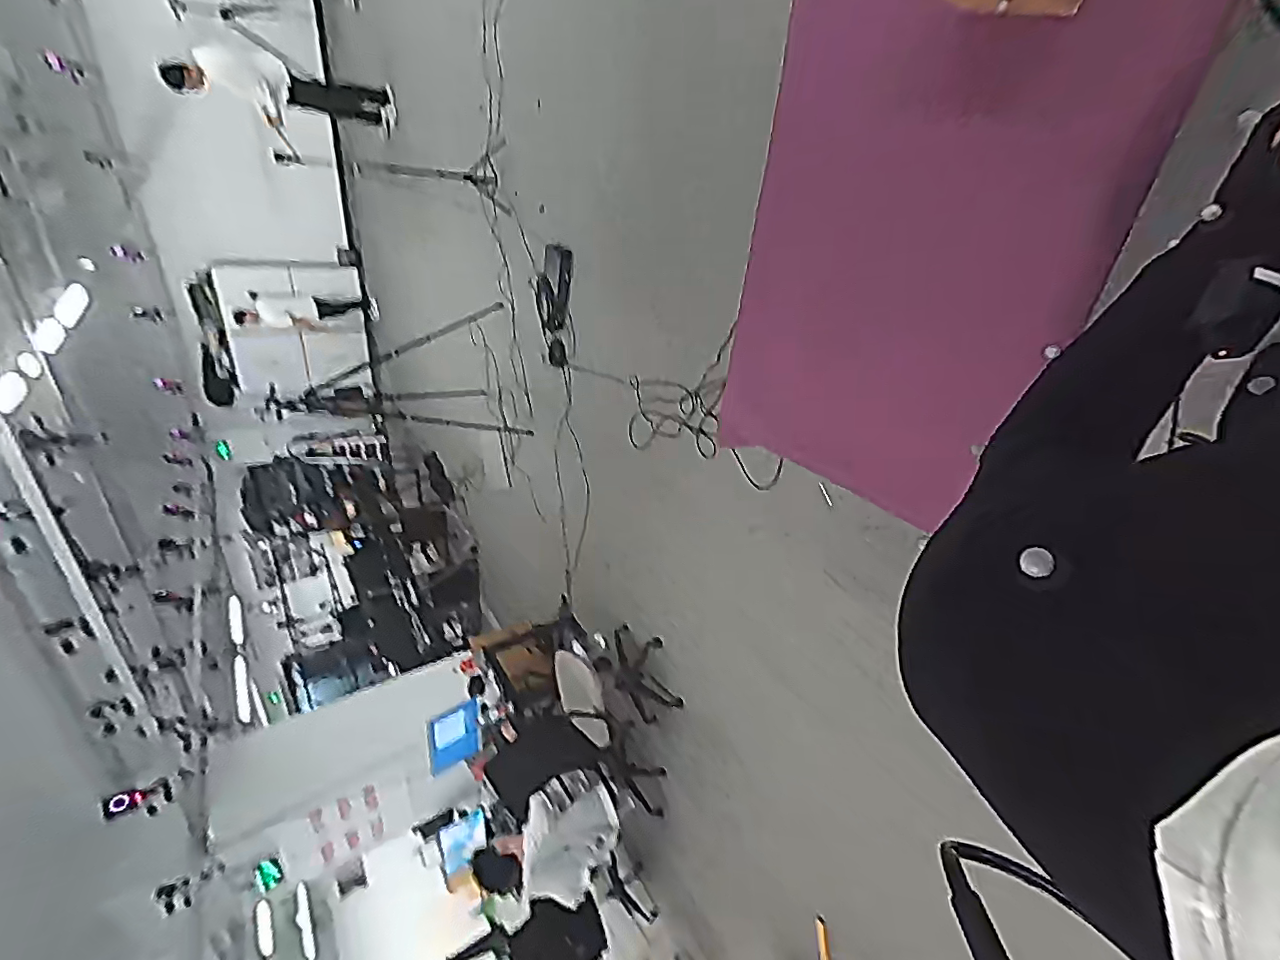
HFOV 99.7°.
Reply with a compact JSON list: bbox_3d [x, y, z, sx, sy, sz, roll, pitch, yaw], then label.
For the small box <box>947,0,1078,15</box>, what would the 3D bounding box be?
[{"bbox_3d":[0.454,-0.681,0.639,0.168,0.176,0.179,47,137,37],"label":"small box"}]
